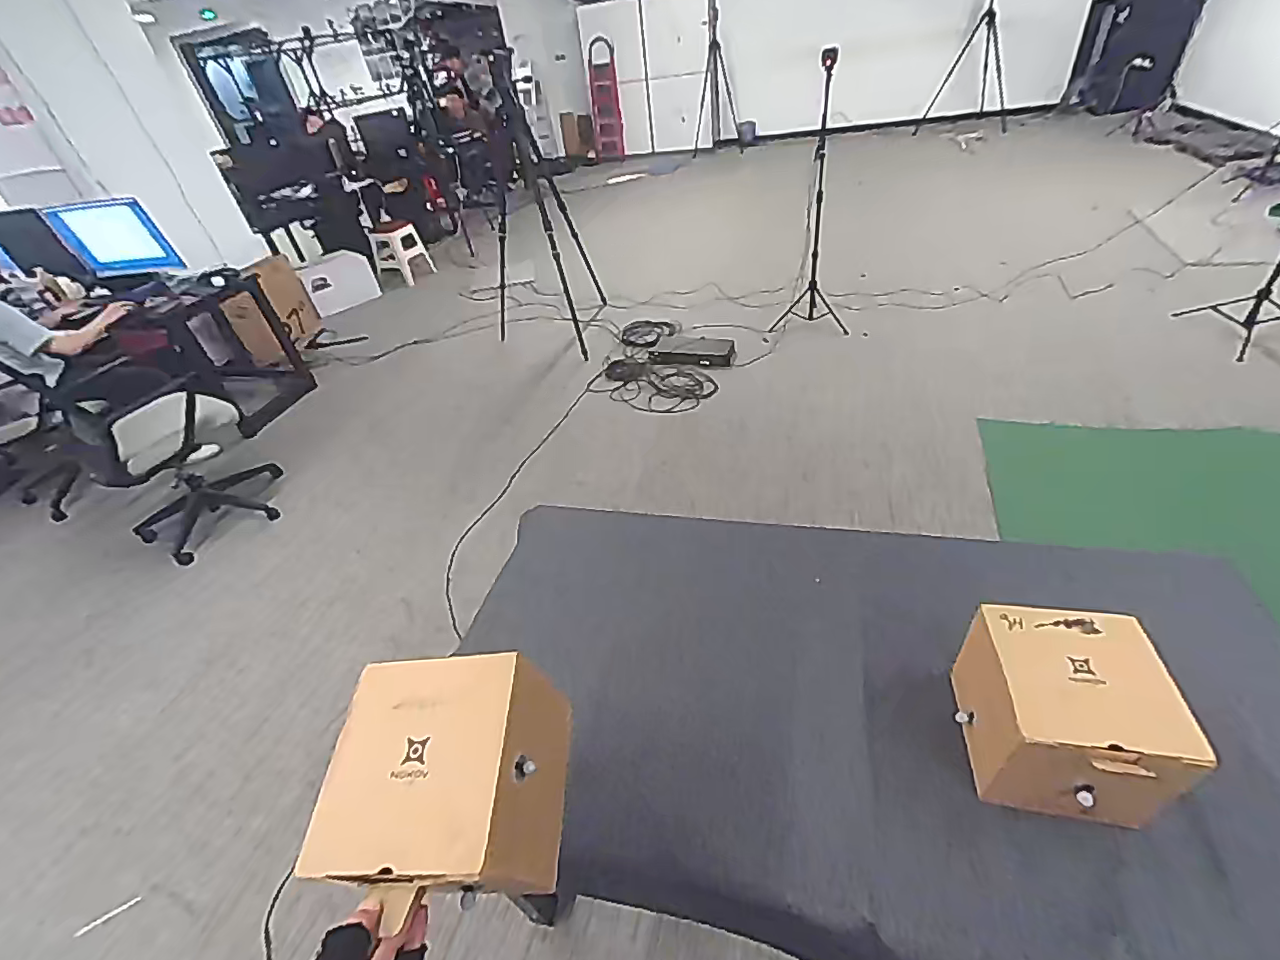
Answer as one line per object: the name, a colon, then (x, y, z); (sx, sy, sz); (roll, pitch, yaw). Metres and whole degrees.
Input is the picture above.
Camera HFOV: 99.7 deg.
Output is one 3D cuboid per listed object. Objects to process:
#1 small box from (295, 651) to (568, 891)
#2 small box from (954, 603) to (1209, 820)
small box: (-0.176, 0.287, 0.526); (0.168, 0.176, 0.179); (-7, 48, 9)
small box: (0.499, 0.276, 0.648); (0.168, 0.176, 0.179); (3, 42, 14)
